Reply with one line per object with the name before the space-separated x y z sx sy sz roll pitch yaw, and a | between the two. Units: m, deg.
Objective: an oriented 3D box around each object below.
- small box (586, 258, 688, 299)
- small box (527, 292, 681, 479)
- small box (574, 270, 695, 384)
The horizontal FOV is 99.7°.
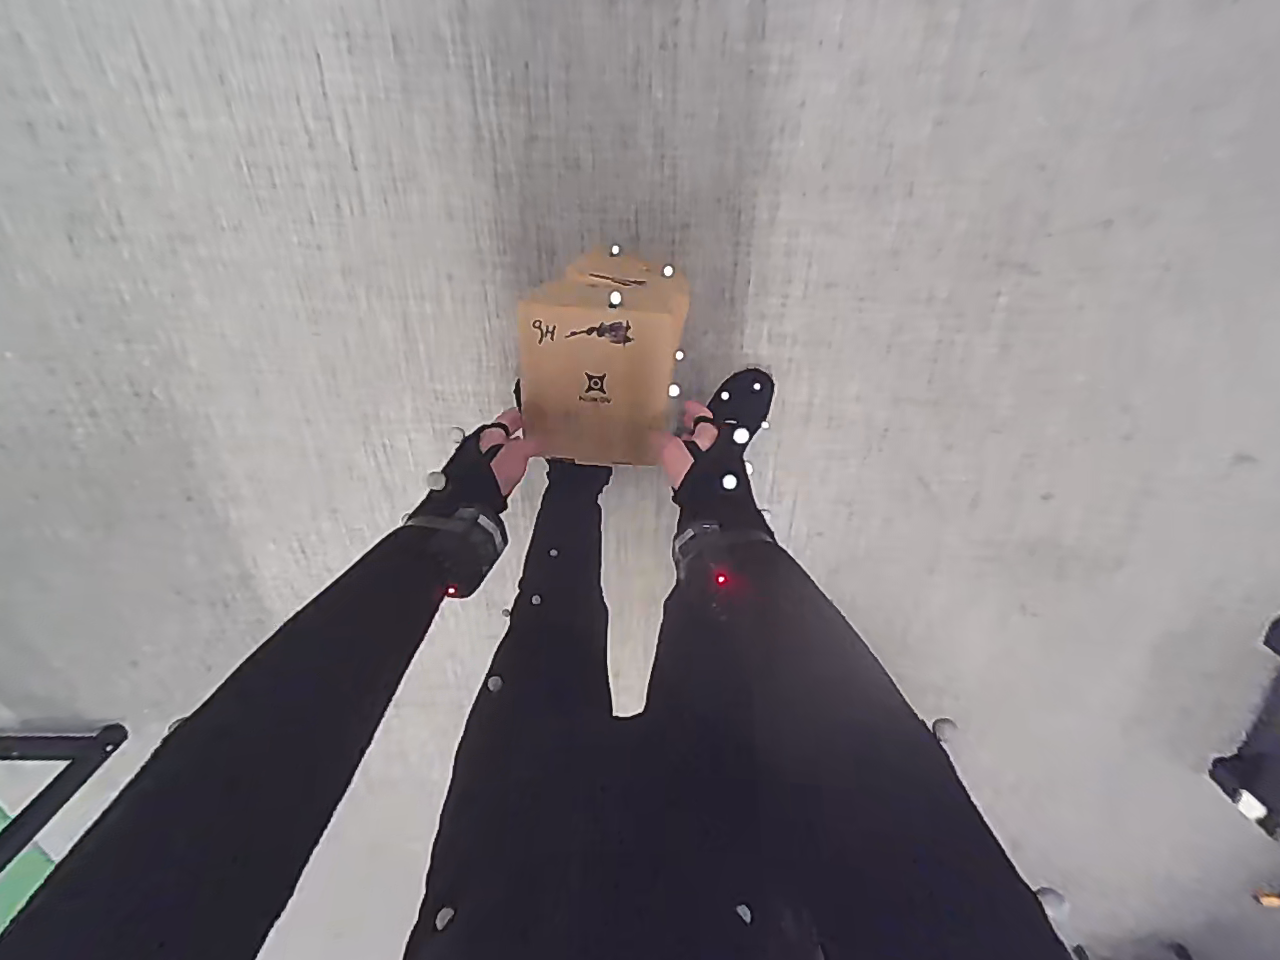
small box | -0.019 -0.280 0.956 0.168 0.176 0.179 12 119 -3
small box | -0.039 -0.123 0.670 0.168 0.176 0.179 5 118 0
small box | -0.023 -0.202 0.812 0.168 0.176 0.179 13 119 -4
